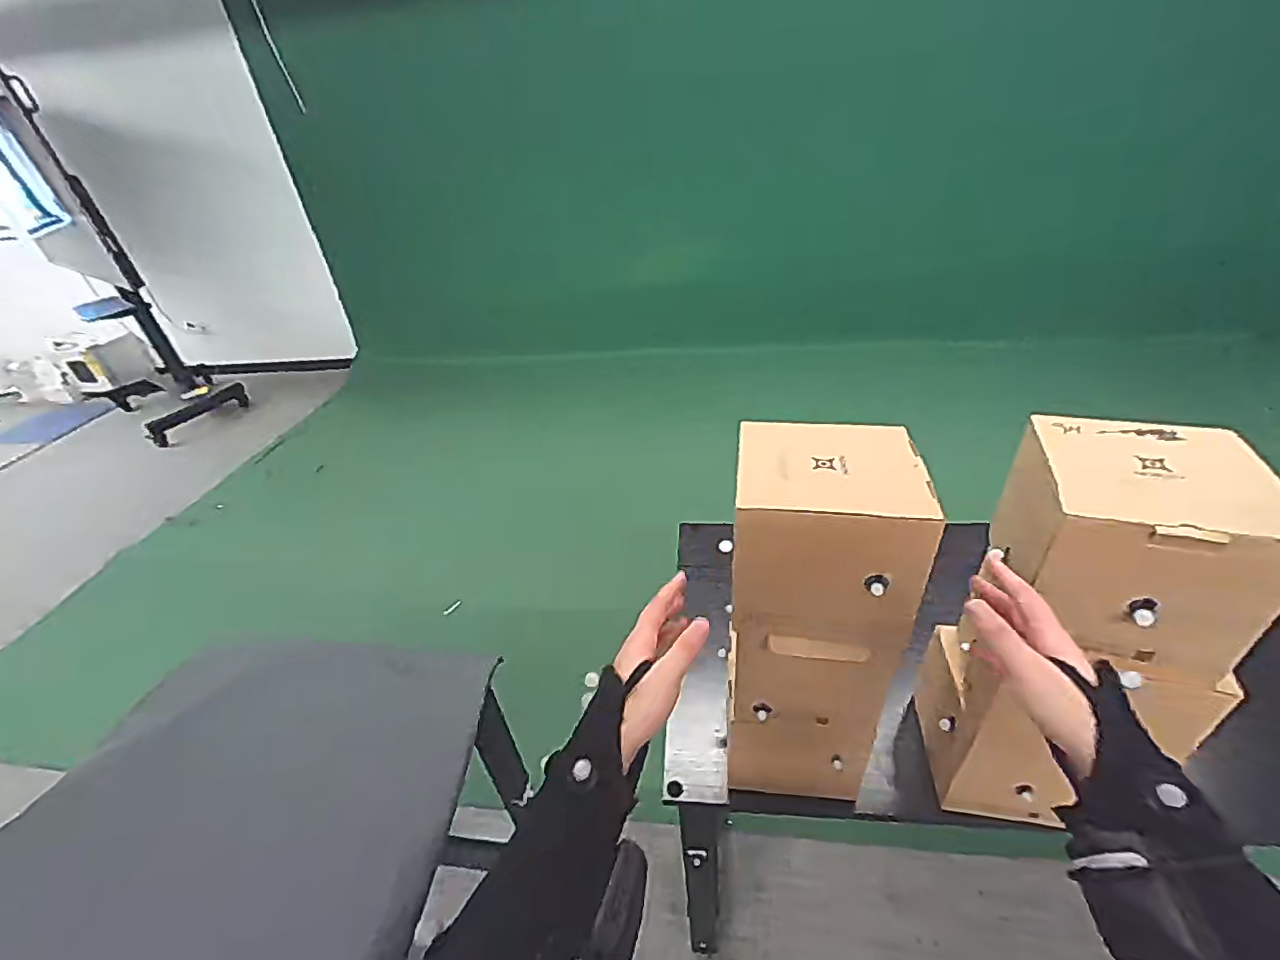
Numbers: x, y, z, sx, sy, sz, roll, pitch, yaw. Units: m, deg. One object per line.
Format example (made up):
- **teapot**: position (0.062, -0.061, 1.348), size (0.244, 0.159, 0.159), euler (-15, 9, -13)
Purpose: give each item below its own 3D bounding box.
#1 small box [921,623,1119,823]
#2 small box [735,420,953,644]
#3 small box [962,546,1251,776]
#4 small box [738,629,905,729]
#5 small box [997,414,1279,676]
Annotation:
- **small box**: position (0.490, 0.317, 0.712), size (0.168, 0.176, 0.179), euler (2, 36, 12)
- **small box**: position (0.193, 0.051, 0.567), size (0.179, 0.176, 0.168), euler (2, 34, 11)
- **small box**: position (0.484, 0.196, 0.601), size (0.179, 0.176, 0.168), euler (7, 38, 18)
- **small box**: position (0.209, 0.179, 0.668), size (0.168, 0.176, 0.179), euler (2, 35, 10)
- **small box**: position (0.466, 0.056, 0.519), size (0.168, 0.176, 0.179), euler (8, 39, 21)
